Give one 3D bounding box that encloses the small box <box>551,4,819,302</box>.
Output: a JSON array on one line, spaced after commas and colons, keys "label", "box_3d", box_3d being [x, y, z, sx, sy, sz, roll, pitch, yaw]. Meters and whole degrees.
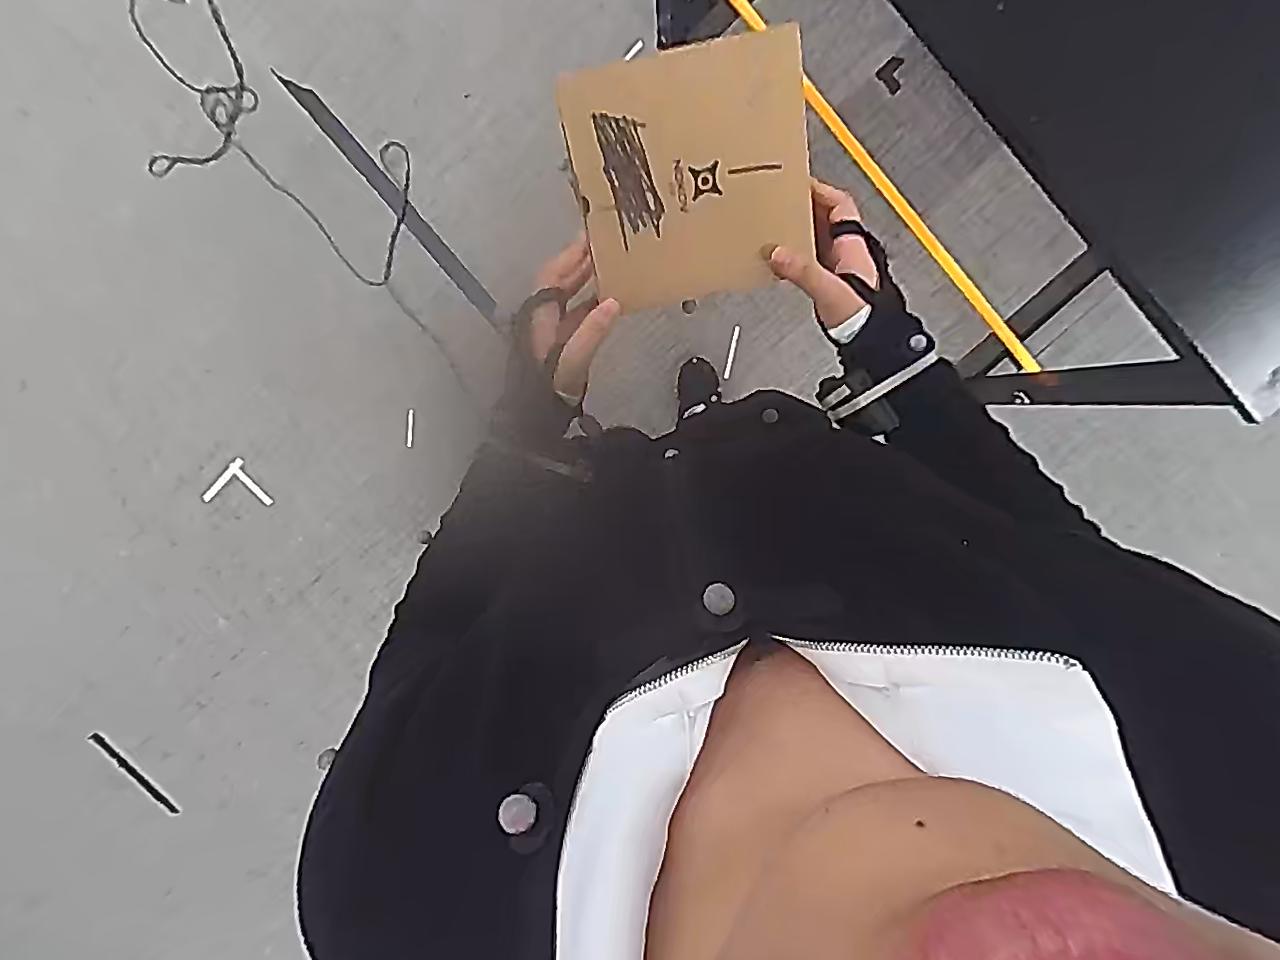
[{"label": "small box", "box_3d": [0.034, -0.255, 0.462, 0.179, 0.176, 0.168, -12, 113, 0]}]
